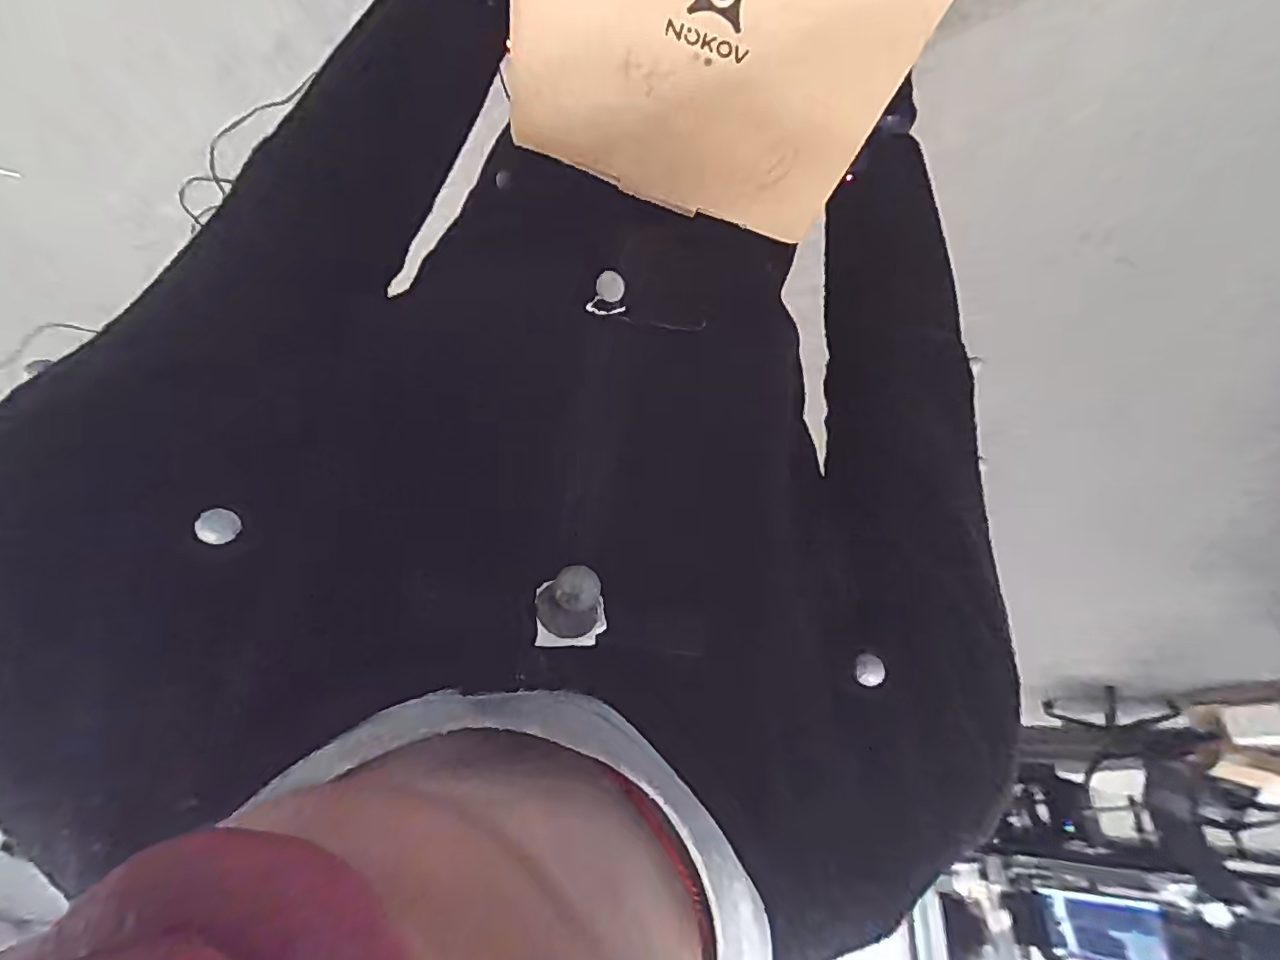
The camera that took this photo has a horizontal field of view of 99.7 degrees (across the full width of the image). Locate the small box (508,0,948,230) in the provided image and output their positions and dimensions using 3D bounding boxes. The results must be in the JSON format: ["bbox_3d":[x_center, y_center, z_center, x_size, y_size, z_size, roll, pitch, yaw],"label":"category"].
[{"bbox_3d":[0.046,-0.260,0.239,0.168,0.176,0.179,16,158,-6],"label":"small box"}]
